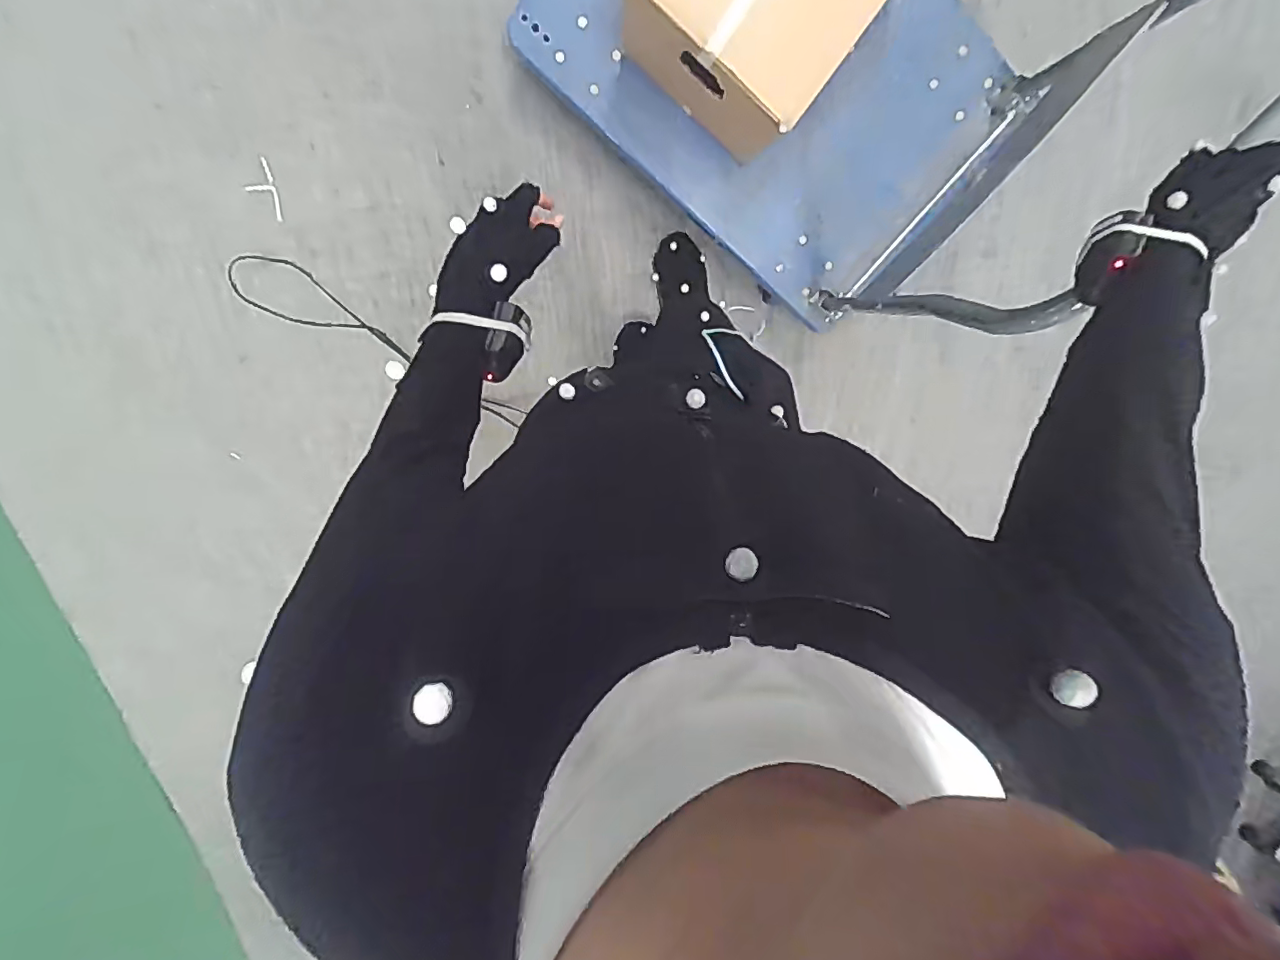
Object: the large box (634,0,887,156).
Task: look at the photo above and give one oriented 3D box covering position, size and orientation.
[{"bbox_3d":[0.224,-0.817,0.850,0.320,0.320,0.408,34,109,-13],"label":"large box"}]
